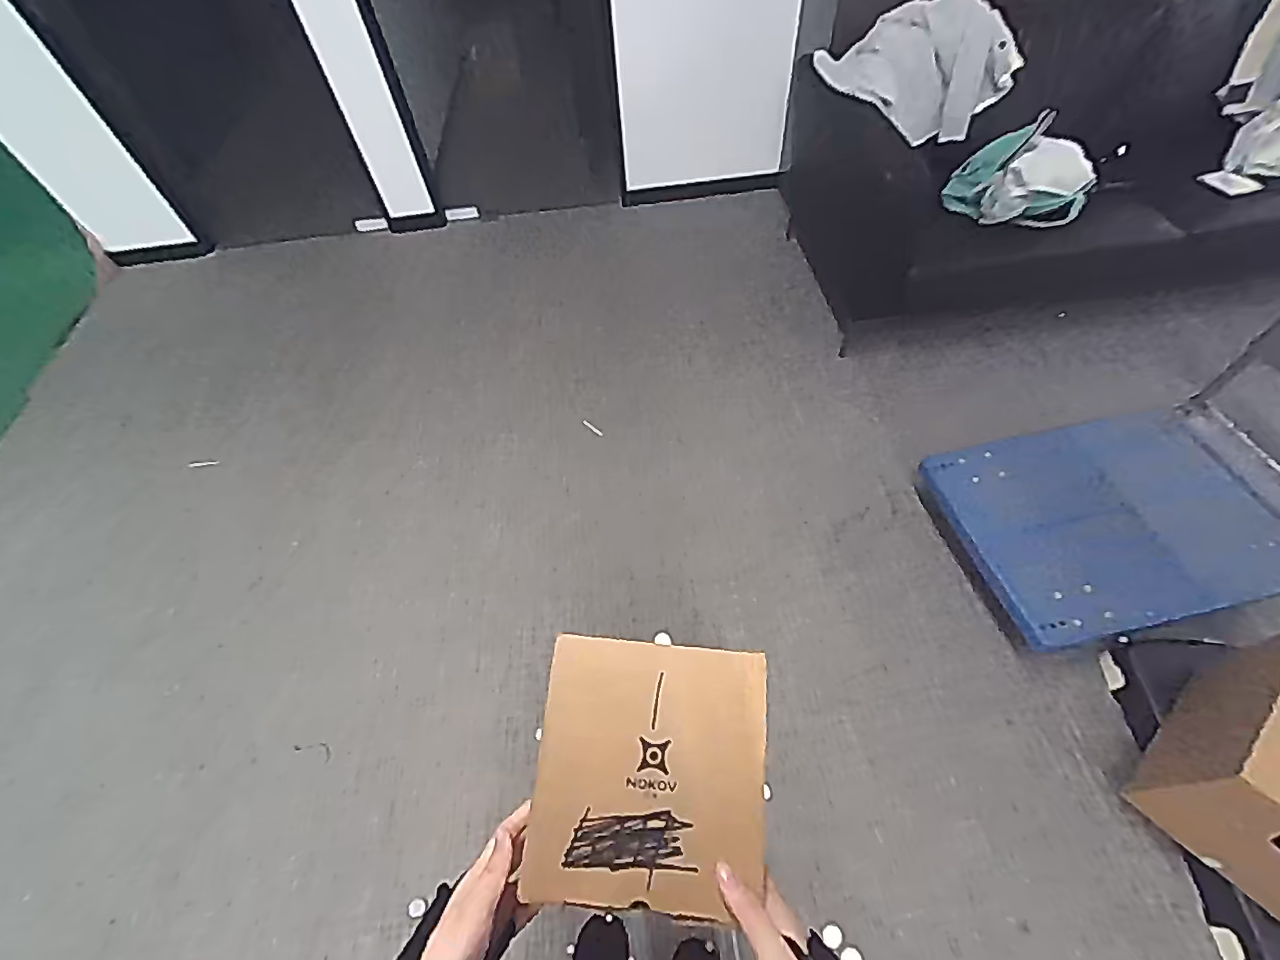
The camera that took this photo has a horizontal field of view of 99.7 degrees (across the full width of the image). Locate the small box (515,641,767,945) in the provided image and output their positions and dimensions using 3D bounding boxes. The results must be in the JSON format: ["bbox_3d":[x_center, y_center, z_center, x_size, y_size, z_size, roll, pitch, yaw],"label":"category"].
[{"bbox_3d":[0.006,0.243,0.459,0.168,0.176,0.179,6,68,1],"label":"small box"}]
